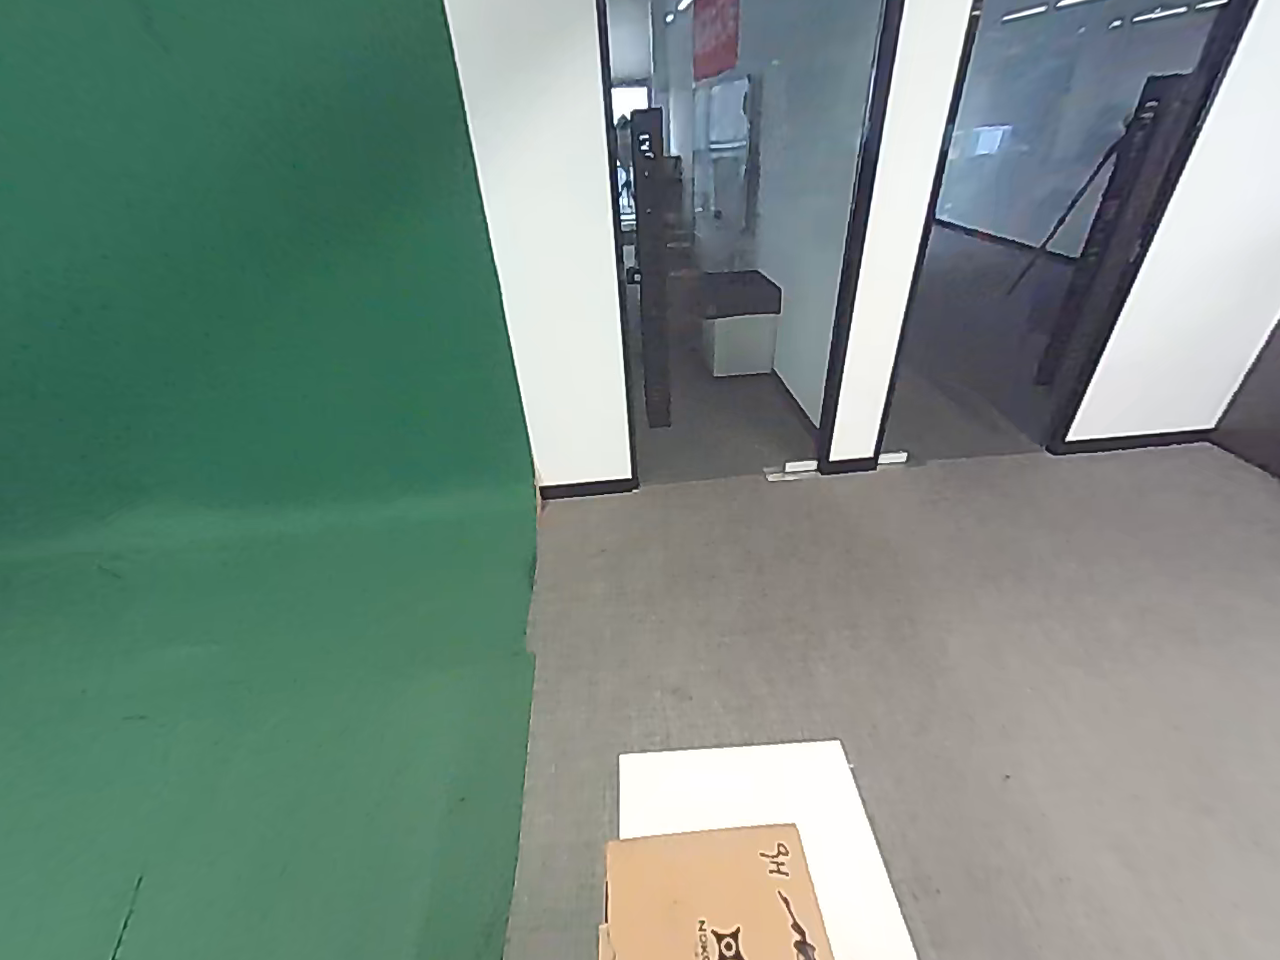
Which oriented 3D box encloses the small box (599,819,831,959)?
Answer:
[{"bbox_3d":[0.062,0.422,0.460,0.179,0.176,0.168,-5,34,0],"label":"small box"}]
